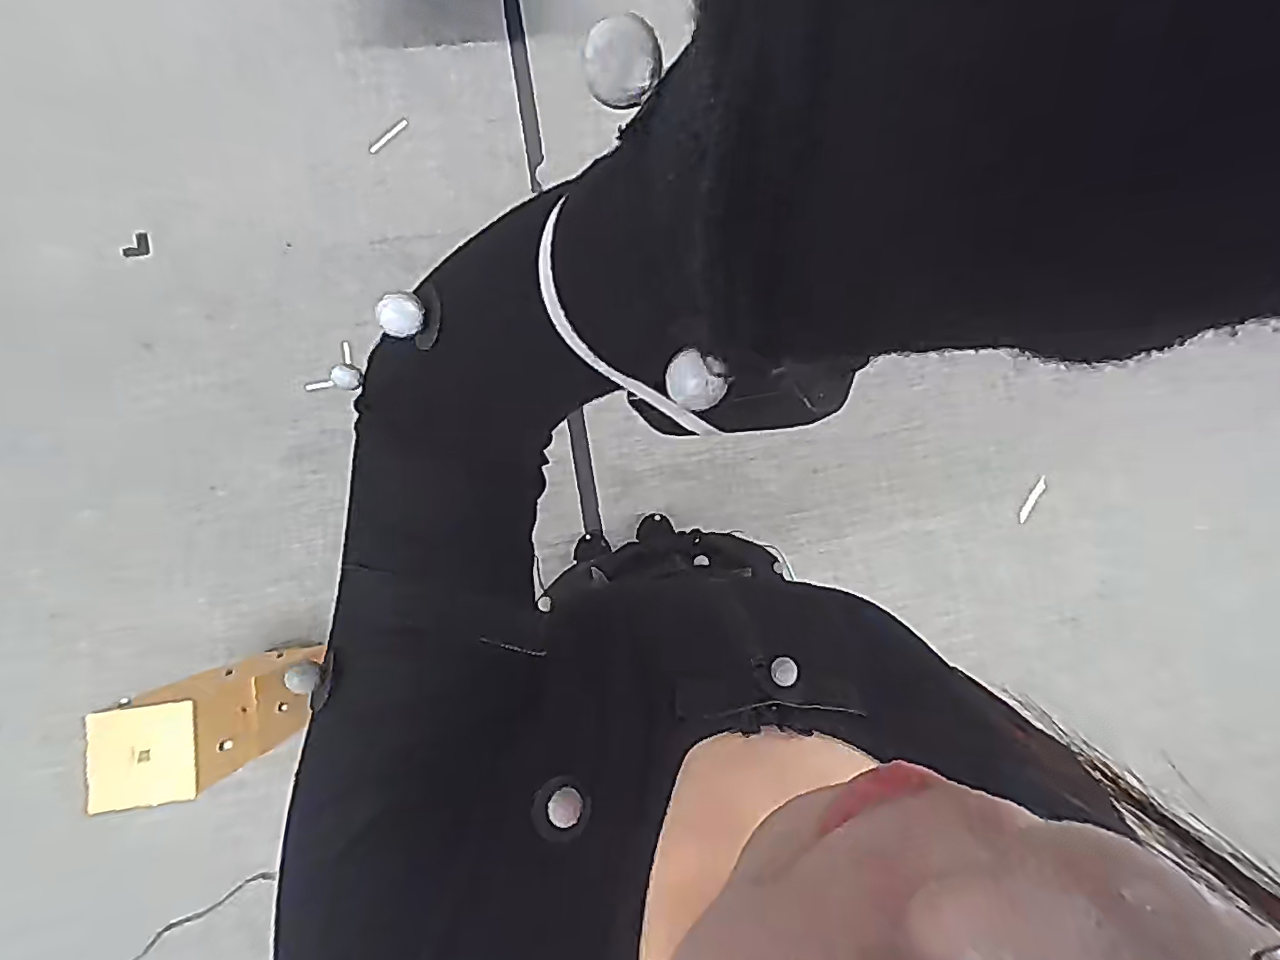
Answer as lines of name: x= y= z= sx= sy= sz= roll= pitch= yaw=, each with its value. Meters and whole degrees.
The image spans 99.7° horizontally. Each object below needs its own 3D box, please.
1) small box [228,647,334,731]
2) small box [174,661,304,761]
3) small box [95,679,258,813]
small box: x=-0.882 y=0.520 z=1.339 sx=0.179 sy=0.176 sz=0.168 roll=-6 pitch=84 yaw=-5
small box: x=-0.861 y=0.500 z=1.176 sx=0.179 sy=0.176 sz=0.168 roll=-4 pitch=84 yaw=-4
small box: x=-0.852 y=0.485 z=1.014 sx=0.179 sy=0.176 sz=0.168 roll=-7 pitch=85 yaw=-4
